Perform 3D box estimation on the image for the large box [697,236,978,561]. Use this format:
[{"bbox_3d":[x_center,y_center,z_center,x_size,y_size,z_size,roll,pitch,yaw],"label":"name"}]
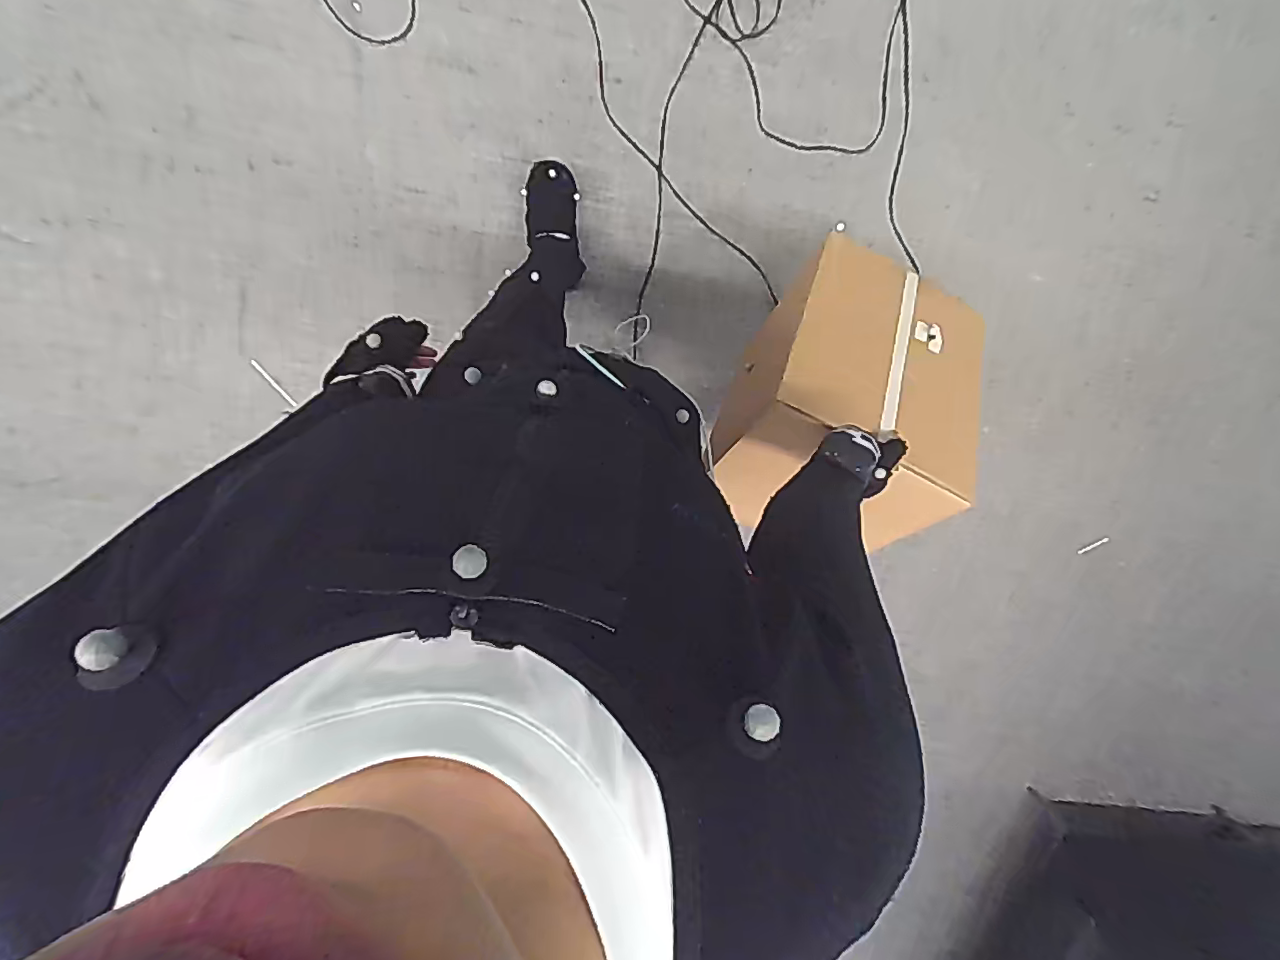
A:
[{"bbox_3d":[0.342,-0.129,0.957,0.320,0.408,0.320,28,149,-5],"label":"large box"}]
